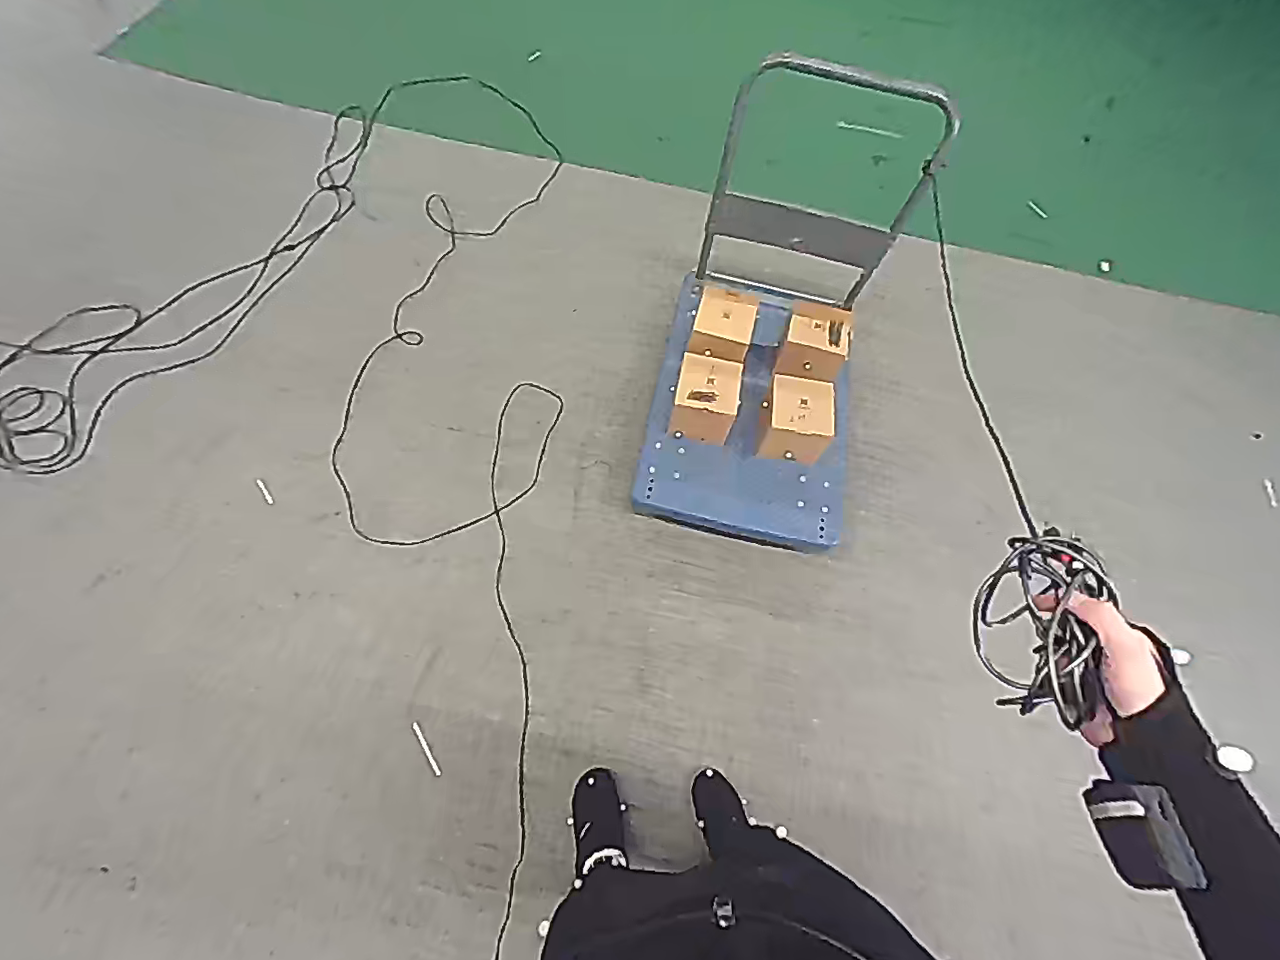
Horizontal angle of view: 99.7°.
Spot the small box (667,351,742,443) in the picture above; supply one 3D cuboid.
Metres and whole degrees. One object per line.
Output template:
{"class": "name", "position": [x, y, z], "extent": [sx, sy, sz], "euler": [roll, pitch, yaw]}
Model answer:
{"class": "small box", "position": [0.176, -0.225, 1.504], "extent": [0.168, 0.176, 0.179], "euler": [12, 64, 0]}

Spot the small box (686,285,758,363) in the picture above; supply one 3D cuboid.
{"class": "small box", "position": [0.238, -0.441, 1.610], "extent": [0.168, 0.176, 0.179], "euler": [15, 65, 1]}

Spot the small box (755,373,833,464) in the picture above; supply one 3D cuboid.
{"class": "small box", "position": [0.424, -0.167, 1.500], "extent": [0.168, 0.176, 0.179], "euler": [10, 65, 0]}
